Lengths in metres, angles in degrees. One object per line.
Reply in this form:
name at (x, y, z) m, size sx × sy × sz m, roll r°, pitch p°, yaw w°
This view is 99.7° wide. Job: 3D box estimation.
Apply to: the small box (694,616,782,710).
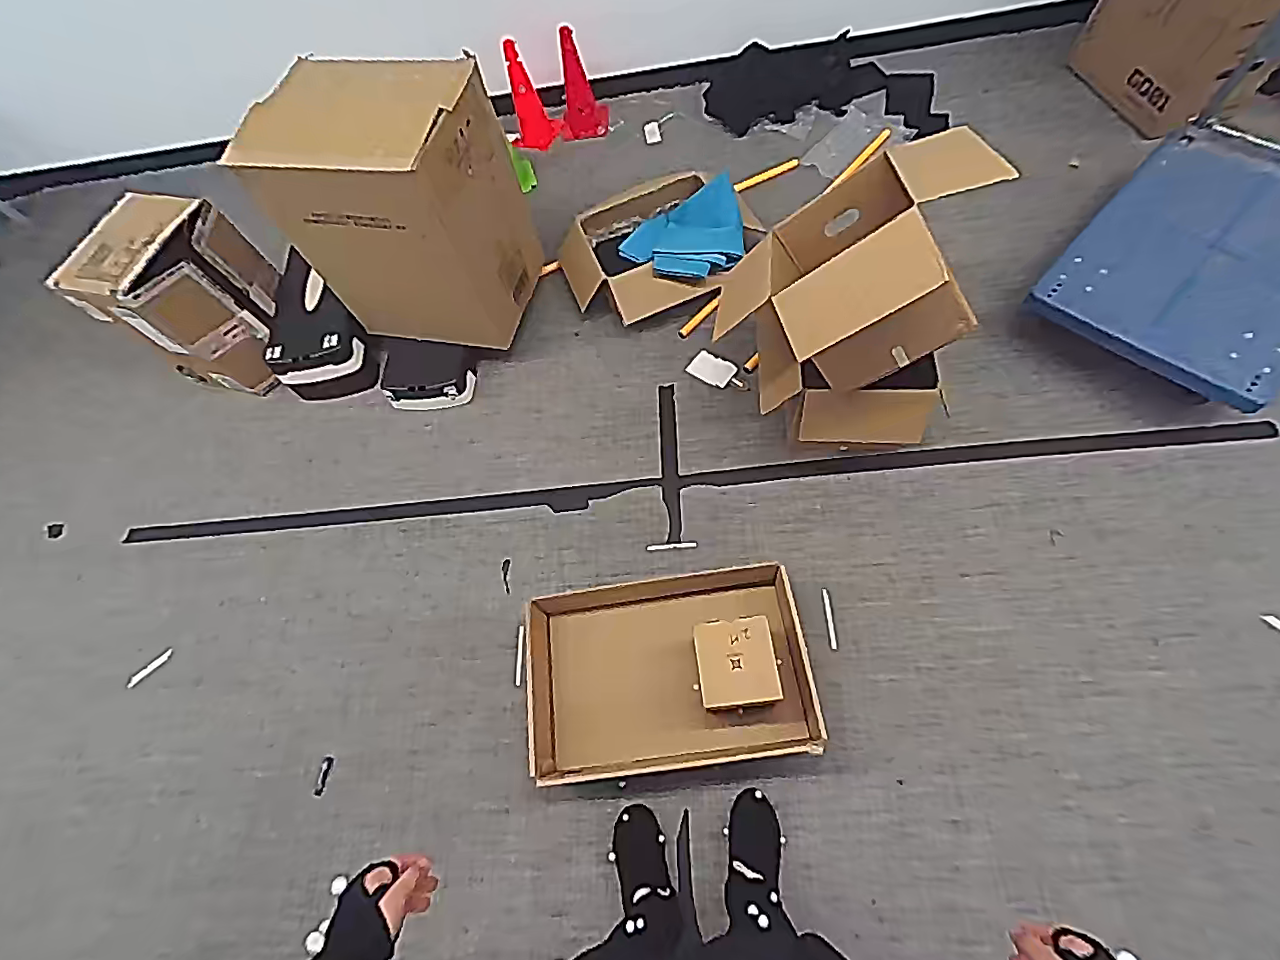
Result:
small box at (0.217, 0.417, 1.218) m, size 0.168 × 0.176 × 0.179 m, roll -8°, pitch 63°, yaw 4°
